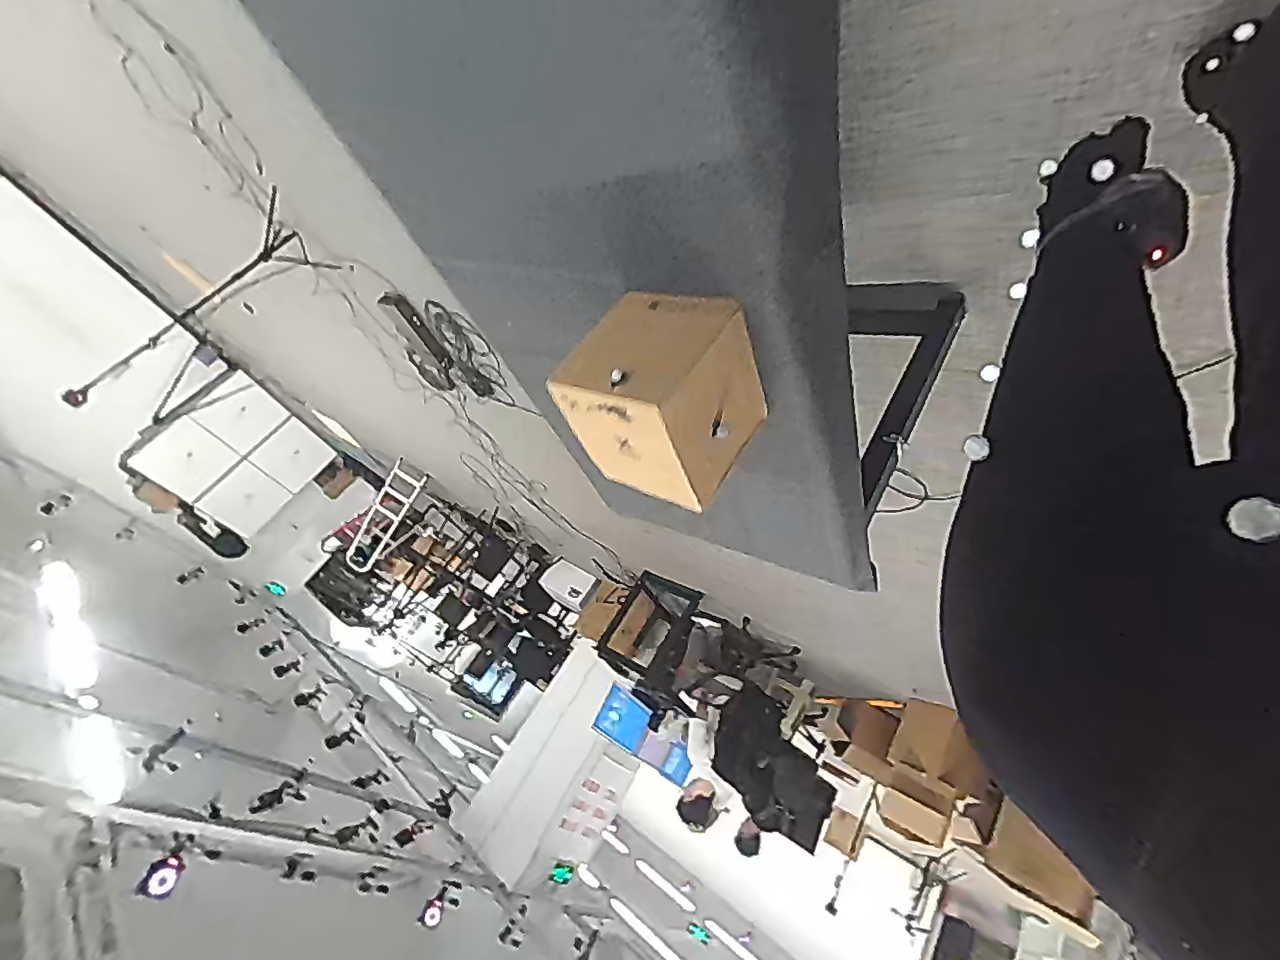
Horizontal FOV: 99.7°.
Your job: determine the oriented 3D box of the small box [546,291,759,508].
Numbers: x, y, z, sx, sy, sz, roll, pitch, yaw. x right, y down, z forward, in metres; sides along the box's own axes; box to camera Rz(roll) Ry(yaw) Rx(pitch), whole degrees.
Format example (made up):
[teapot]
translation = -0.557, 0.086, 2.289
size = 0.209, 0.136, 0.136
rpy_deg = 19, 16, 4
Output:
[small box]
translation = 0.027, -0.101, 0.657
size = 0.168, 0.176, 0.179
rpy_deg = 19, 152, 36
